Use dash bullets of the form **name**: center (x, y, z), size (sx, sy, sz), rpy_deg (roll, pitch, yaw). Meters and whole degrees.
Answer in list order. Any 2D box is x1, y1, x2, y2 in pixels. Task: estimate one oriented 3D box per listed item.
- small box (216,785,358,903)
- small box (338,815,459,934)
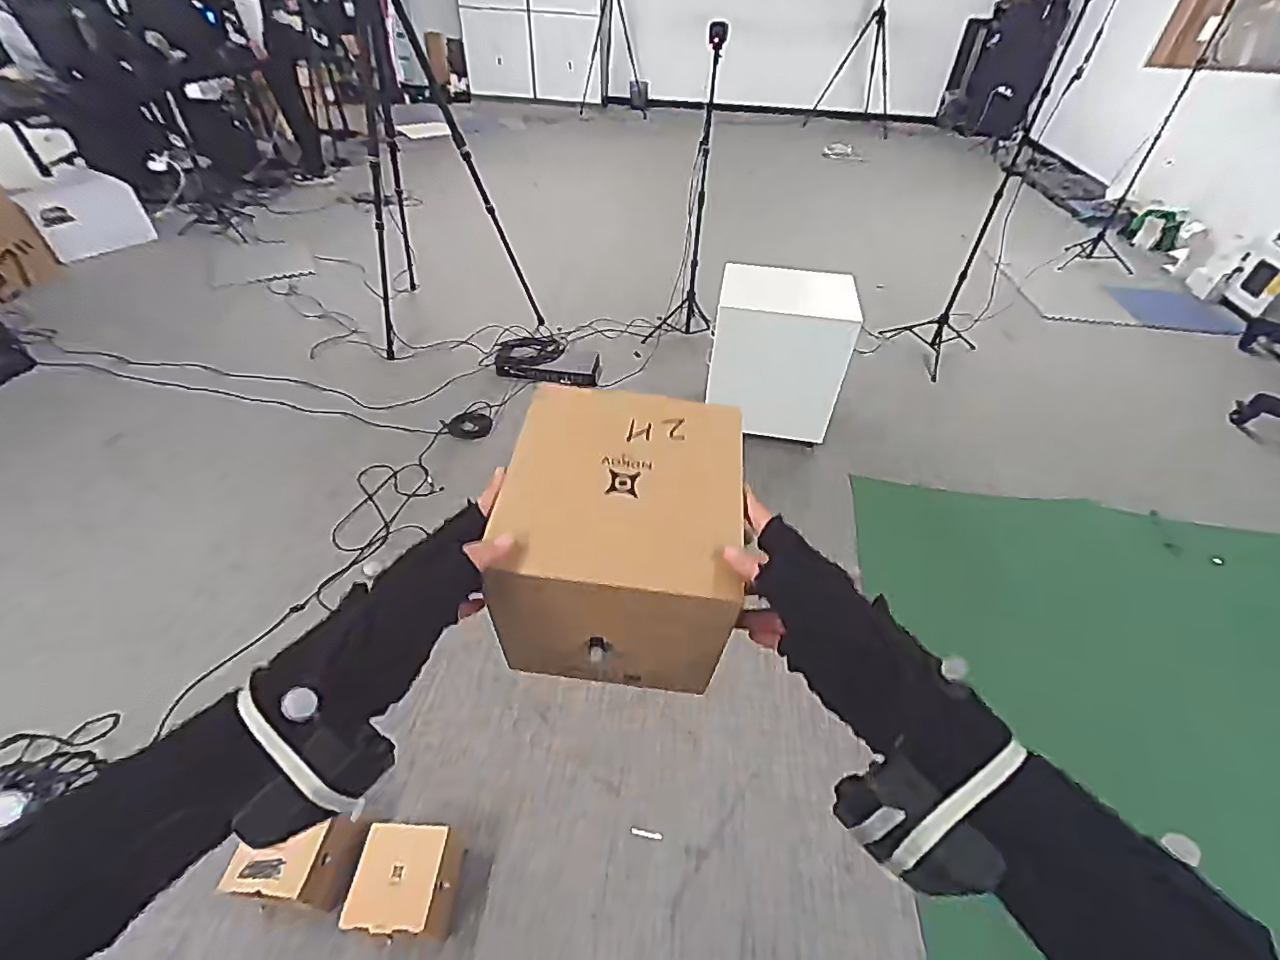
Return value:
- **small box**: center (-0.743, 0.787, 1.166), size (0.168, 0.176, 0.179), rpy_deg (5, 44, 2)
- **small box**: center (-0.493, 0.831, 1.138), size (0.168, 0.176, 0.179), rpy_deg (3, 46, 0)
